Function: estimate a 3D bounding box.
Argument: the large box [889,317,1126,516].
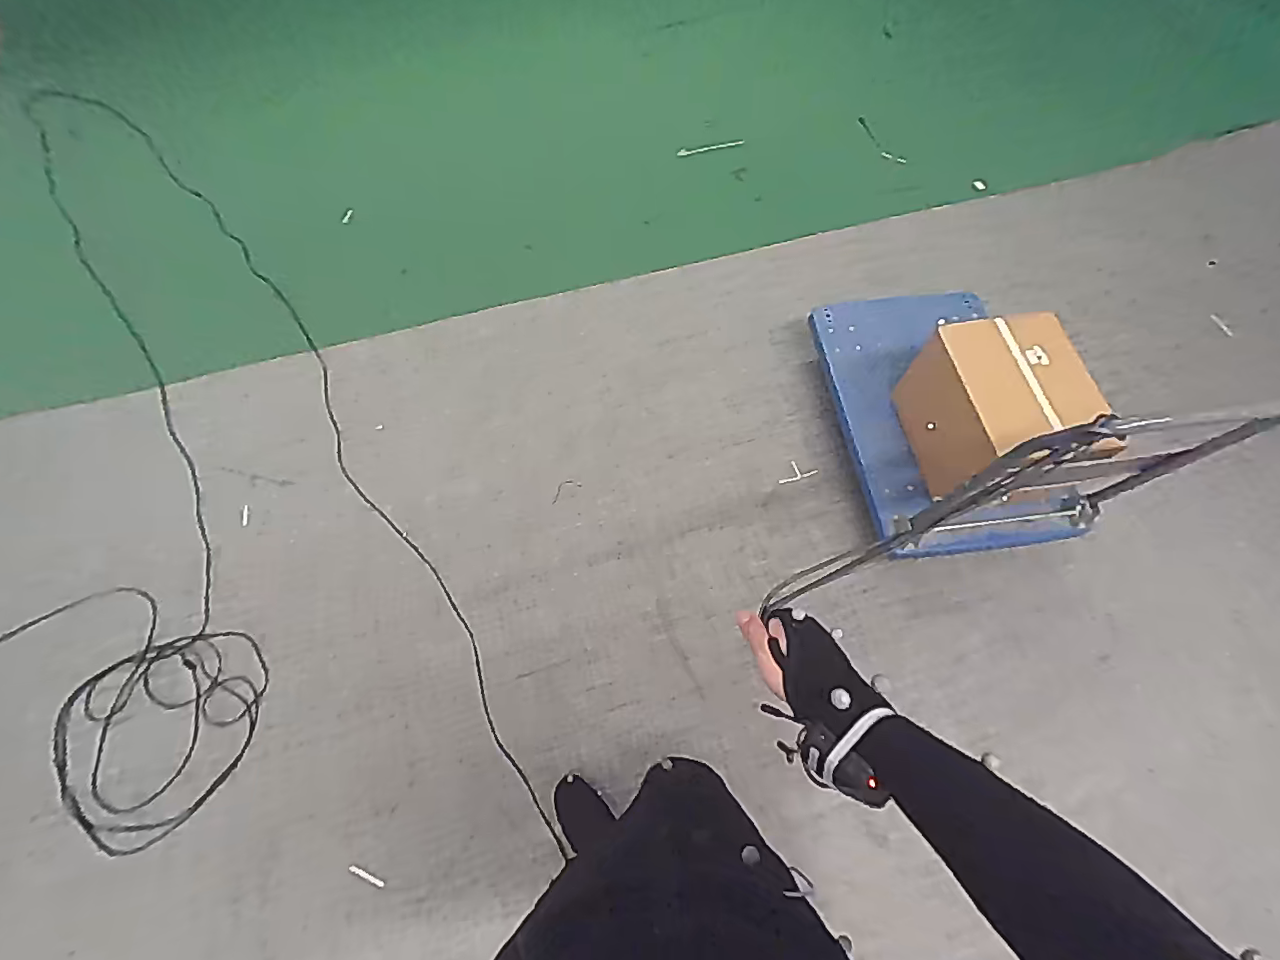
[{"bbox_3d":[0.929,-0.160,1.438,0.320,0.320,0.408,-7,63,-3],"label":"large box"}]
